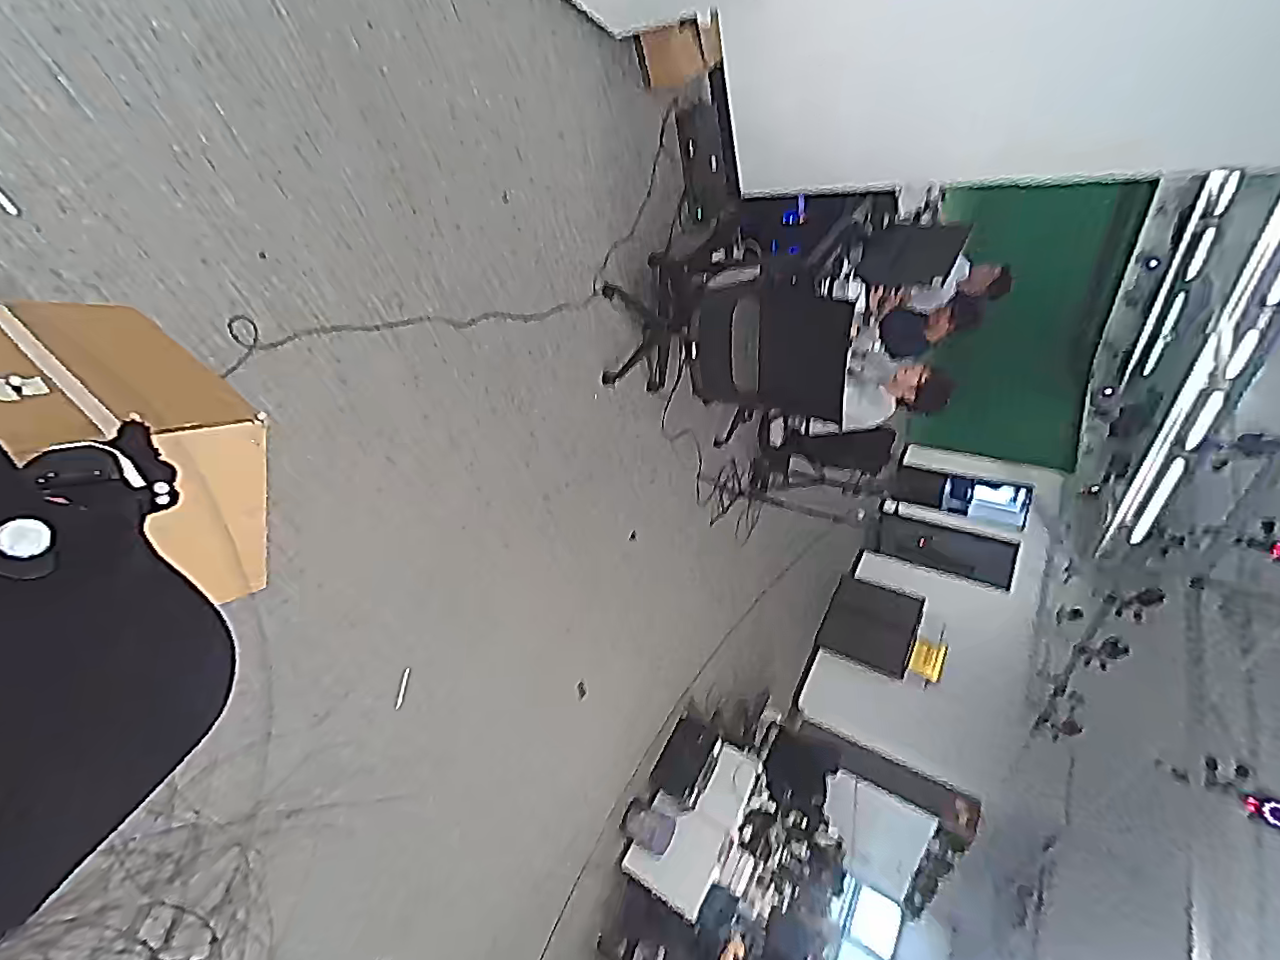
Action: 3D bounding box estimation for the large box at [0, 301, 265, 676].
[{"bbox_3d":[-0.798,-0.023,0.754,0.320,0.408,0.320,-29,146,-53],"label":"large box"}]
